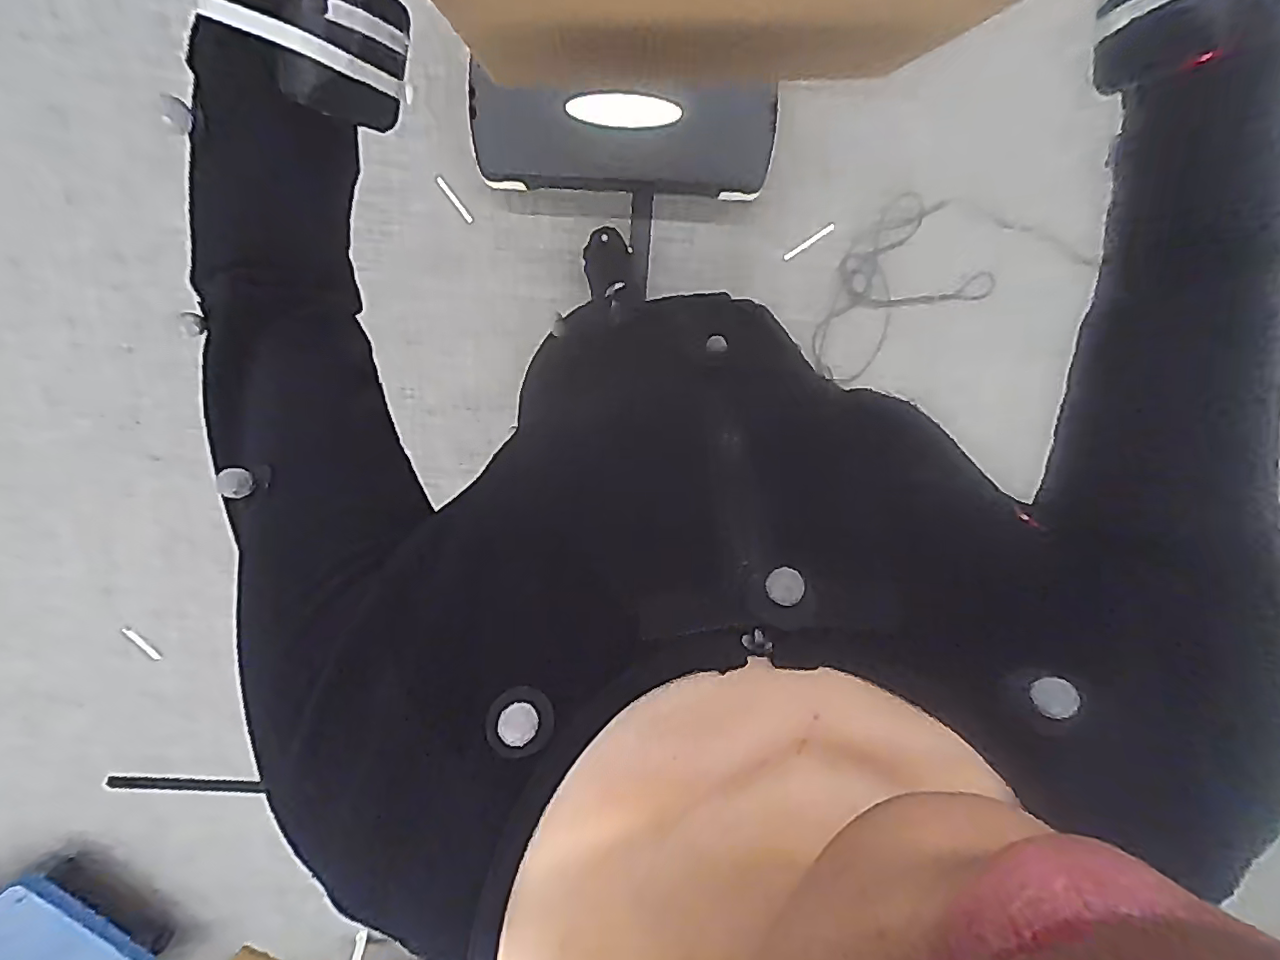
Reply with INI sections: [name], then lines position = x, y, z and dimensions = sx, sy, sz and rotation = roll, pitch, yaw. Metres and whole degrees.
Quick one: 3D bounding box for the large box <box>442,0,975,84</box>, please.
[large box]
position = 0.050, -0.492, 0.355
dimensions = 0.408, 0.320, 0.320
rotation = -3, 115, -2
